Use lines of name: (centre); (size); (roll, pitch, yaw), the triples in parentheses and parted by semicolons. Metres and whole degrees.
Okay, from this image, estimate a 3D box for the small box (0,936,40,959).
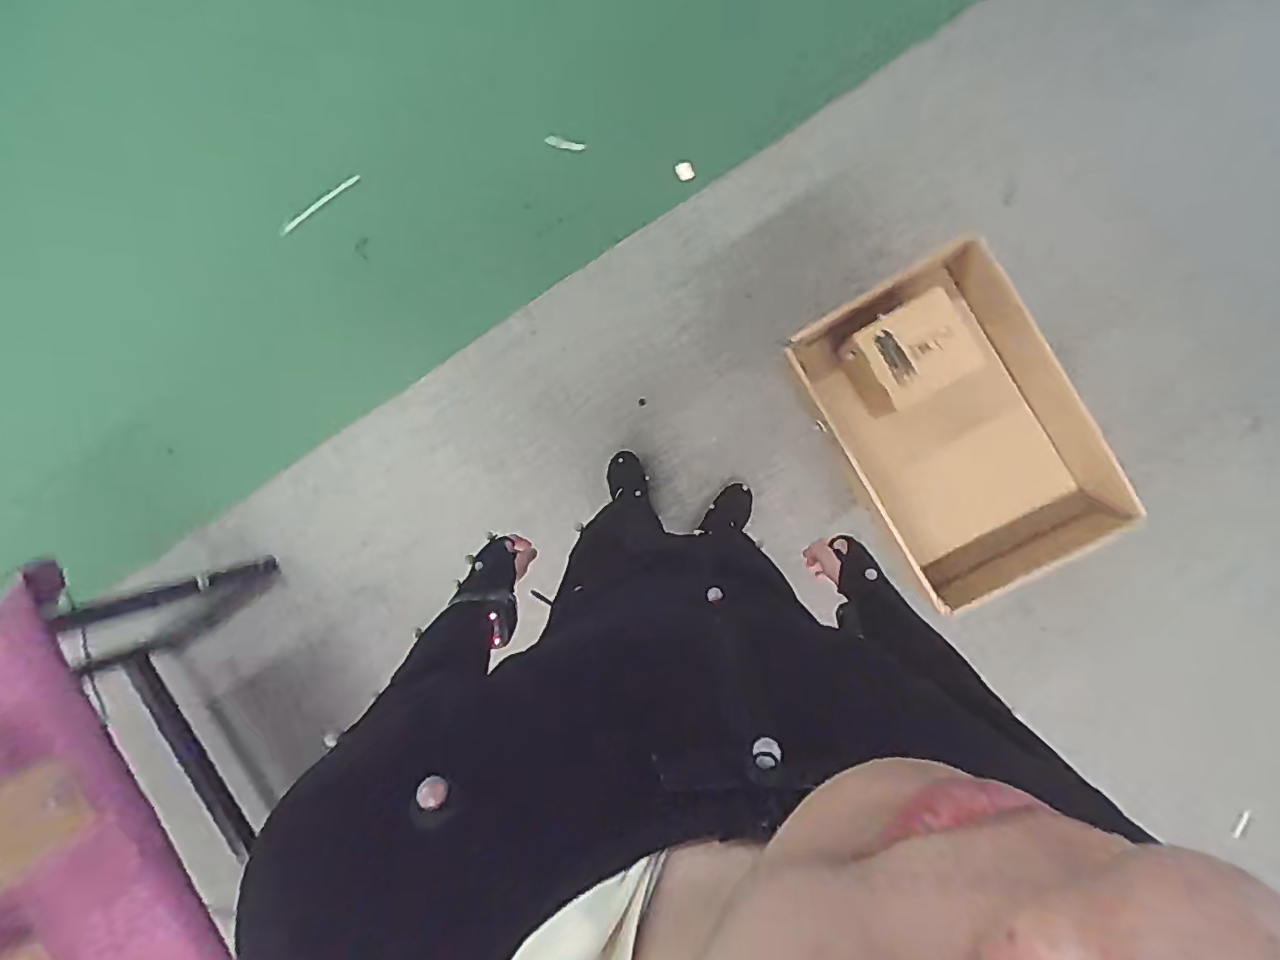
small box: (-1.328, 1.063, 1.065); (0.179, 0.176, 0.168); (-32, 89, 9)
